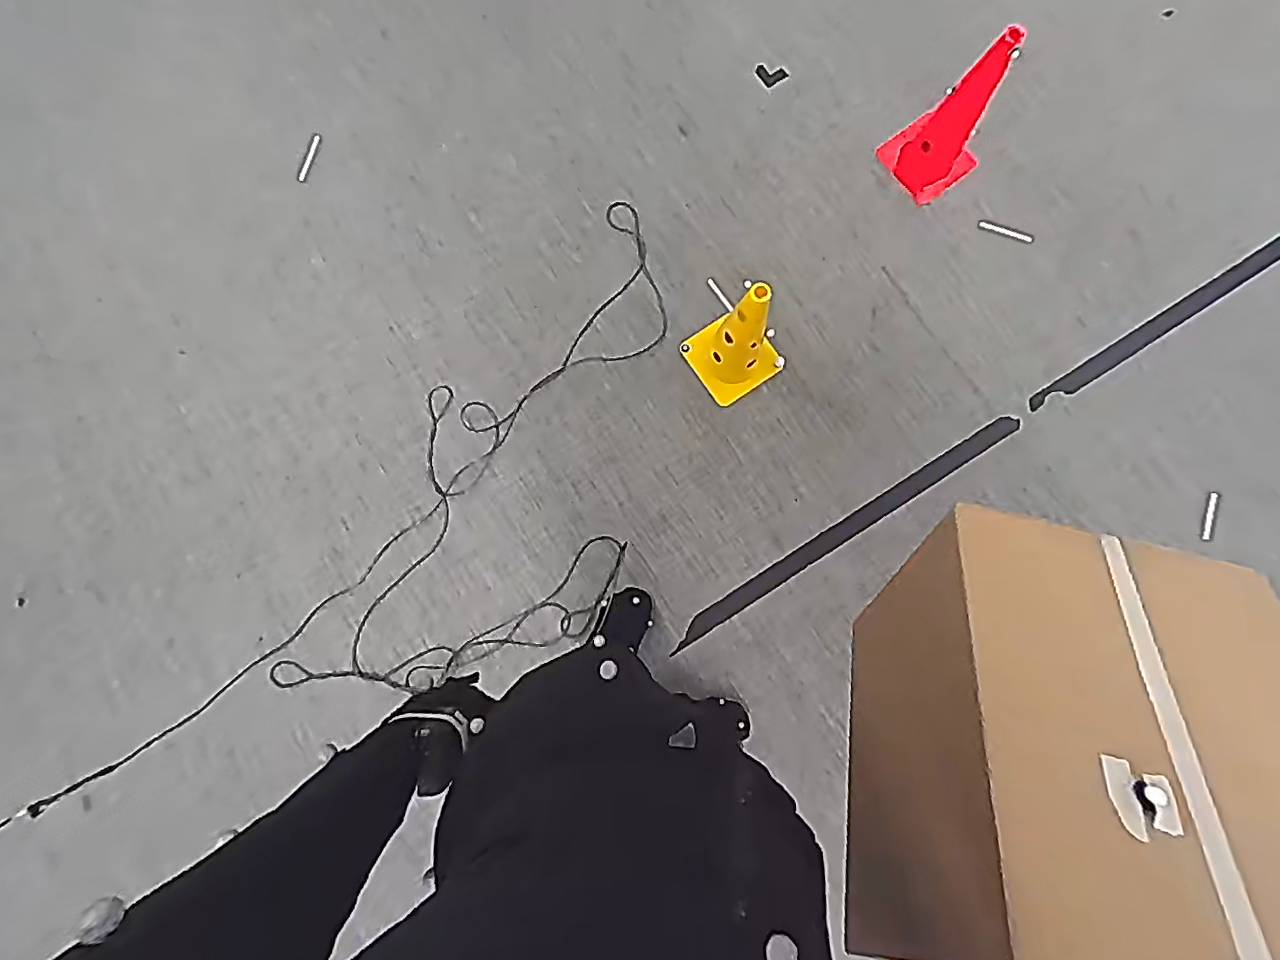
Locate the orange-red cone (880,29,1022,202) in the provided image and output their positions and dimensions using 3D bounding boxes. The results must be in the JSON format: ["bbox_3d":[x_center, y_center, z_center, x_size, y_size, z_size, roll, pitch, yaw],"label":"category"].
[{"bbox_3d":[0.753,-0.864,1.253,0.199,0.360,0.198,-35,83,-2],"label":"orange-red cone"}]

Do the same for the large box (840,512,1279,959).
[{"bbox_3d":[0.423,0.309,0.578,0.320,0.320,0.408,14,53,7],"label":"large box"}]
